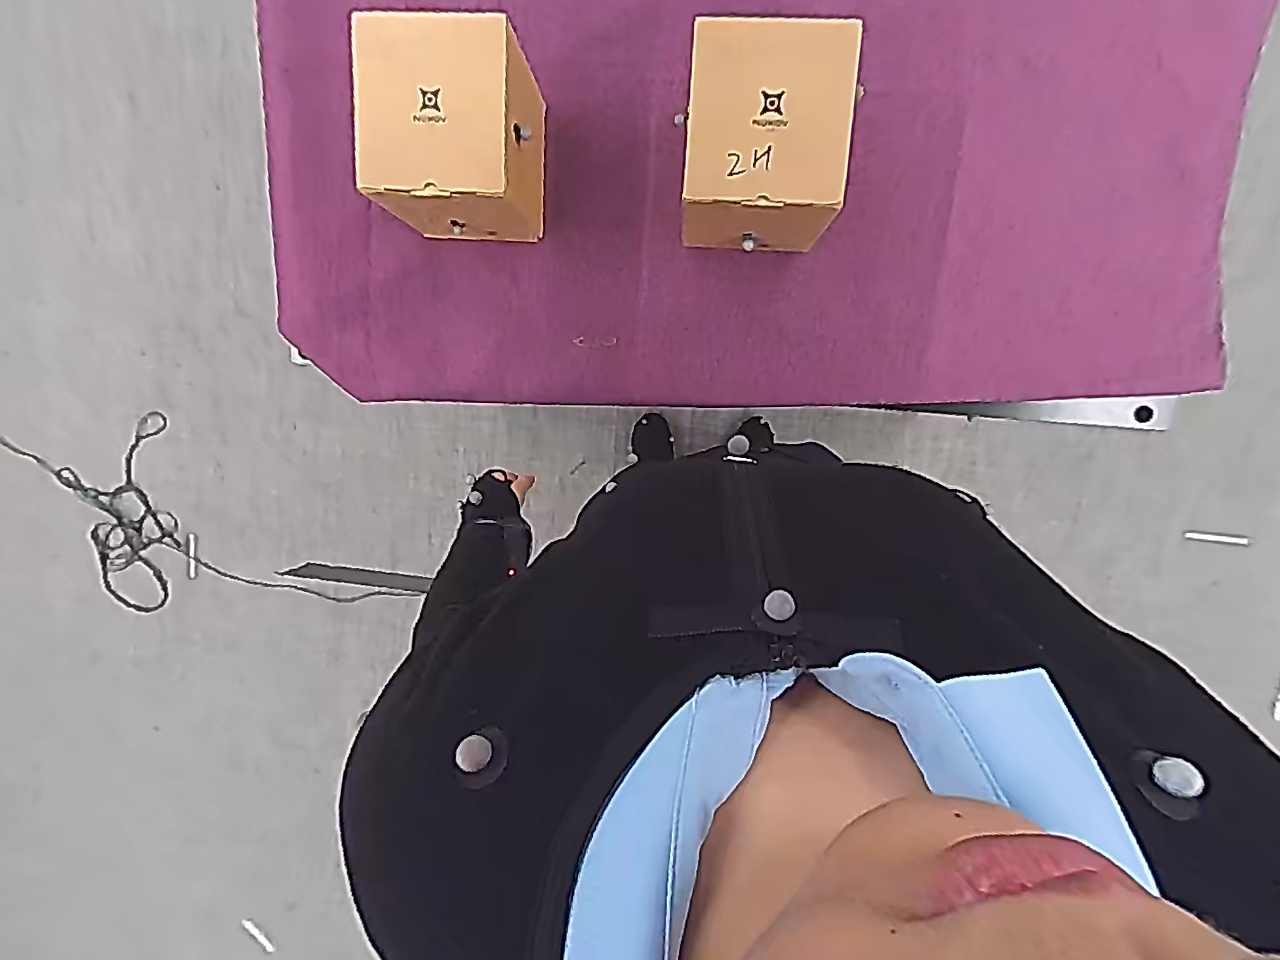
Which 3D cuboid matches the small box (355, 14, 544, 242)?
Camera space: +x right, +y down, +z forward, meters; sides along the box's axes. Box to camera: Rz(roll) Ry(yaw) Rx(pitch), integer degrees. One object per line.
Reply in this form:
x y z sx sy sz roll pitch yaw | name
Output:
-0.215 -0.403 0.647 0.168 0.176 0.179 3 99 3 | small box

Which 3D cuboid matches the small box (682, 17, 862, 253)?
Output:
0.137 -0.379 0.623 0.168 0.176 0.179 4 99 4 | small box
